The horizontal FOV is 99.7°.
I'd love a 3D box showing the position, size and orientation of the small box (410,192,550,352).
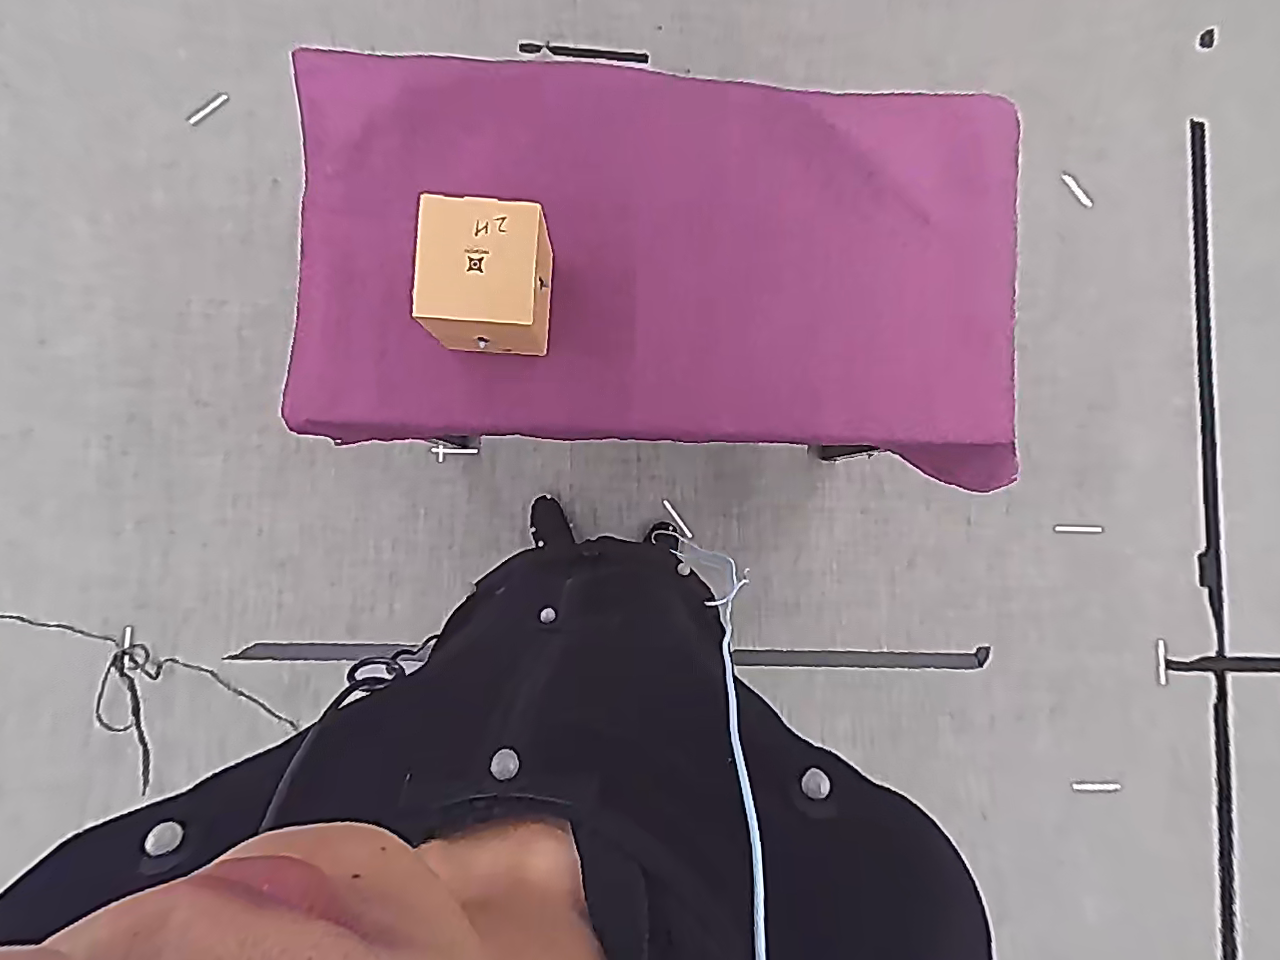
[{"bbox_3d":[-0.231,-0.302,0.821,0.168,0.176,0.179,4,88,-3],"label":"small box"}]
